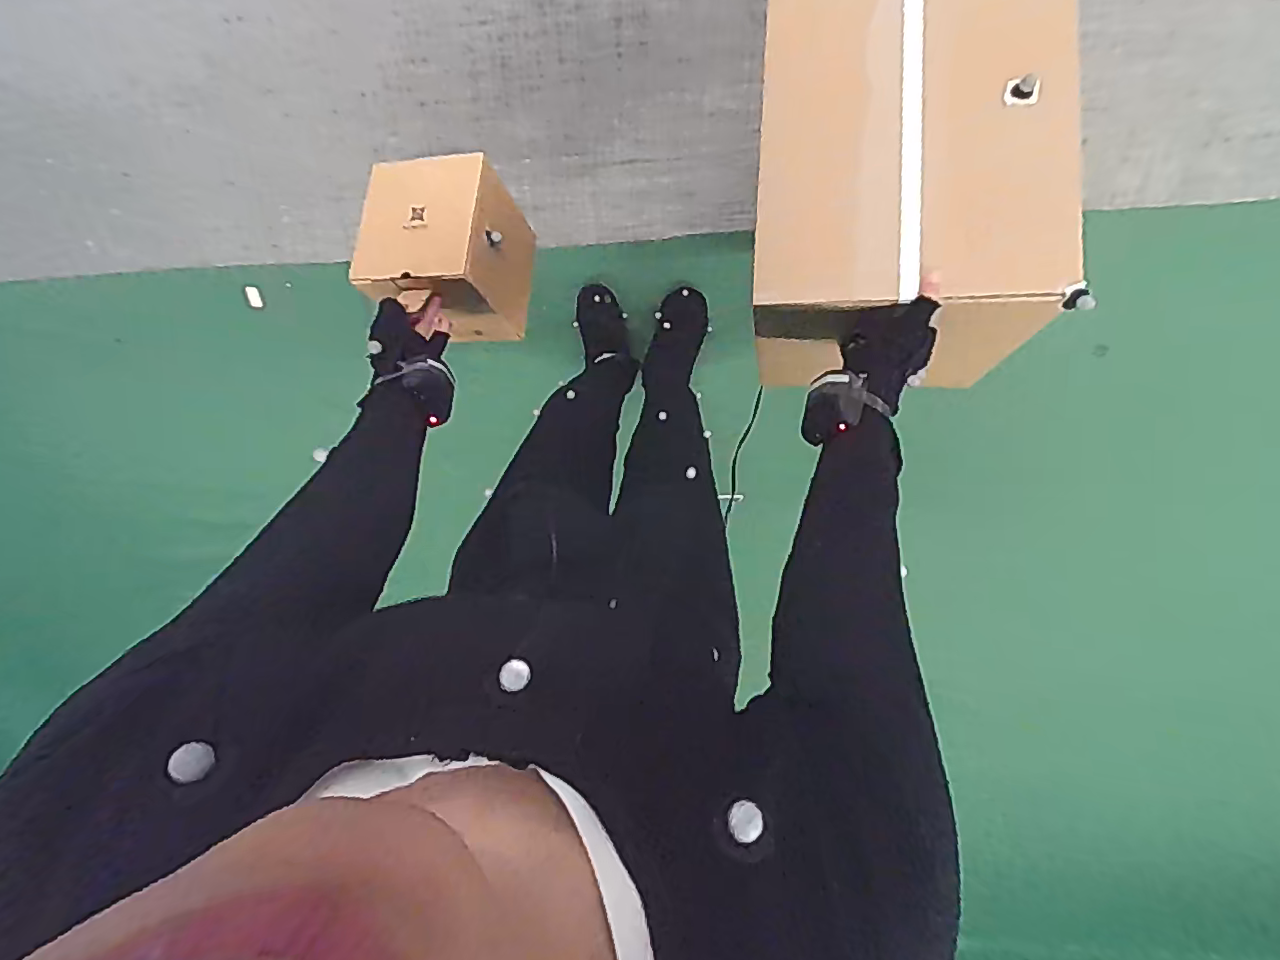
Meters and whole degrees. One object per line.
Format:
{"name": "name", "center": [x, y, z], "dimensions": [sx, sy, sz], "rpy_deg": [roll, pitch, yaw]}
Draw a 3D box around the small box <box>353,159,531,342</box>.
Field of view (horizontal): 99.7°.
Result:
{"name": "small box", "center": [-0.268, -0.316, 0.773], "dimensions": [0.168, 0.176, 0.179], "rpy_deg": [2, 79, 13]}
